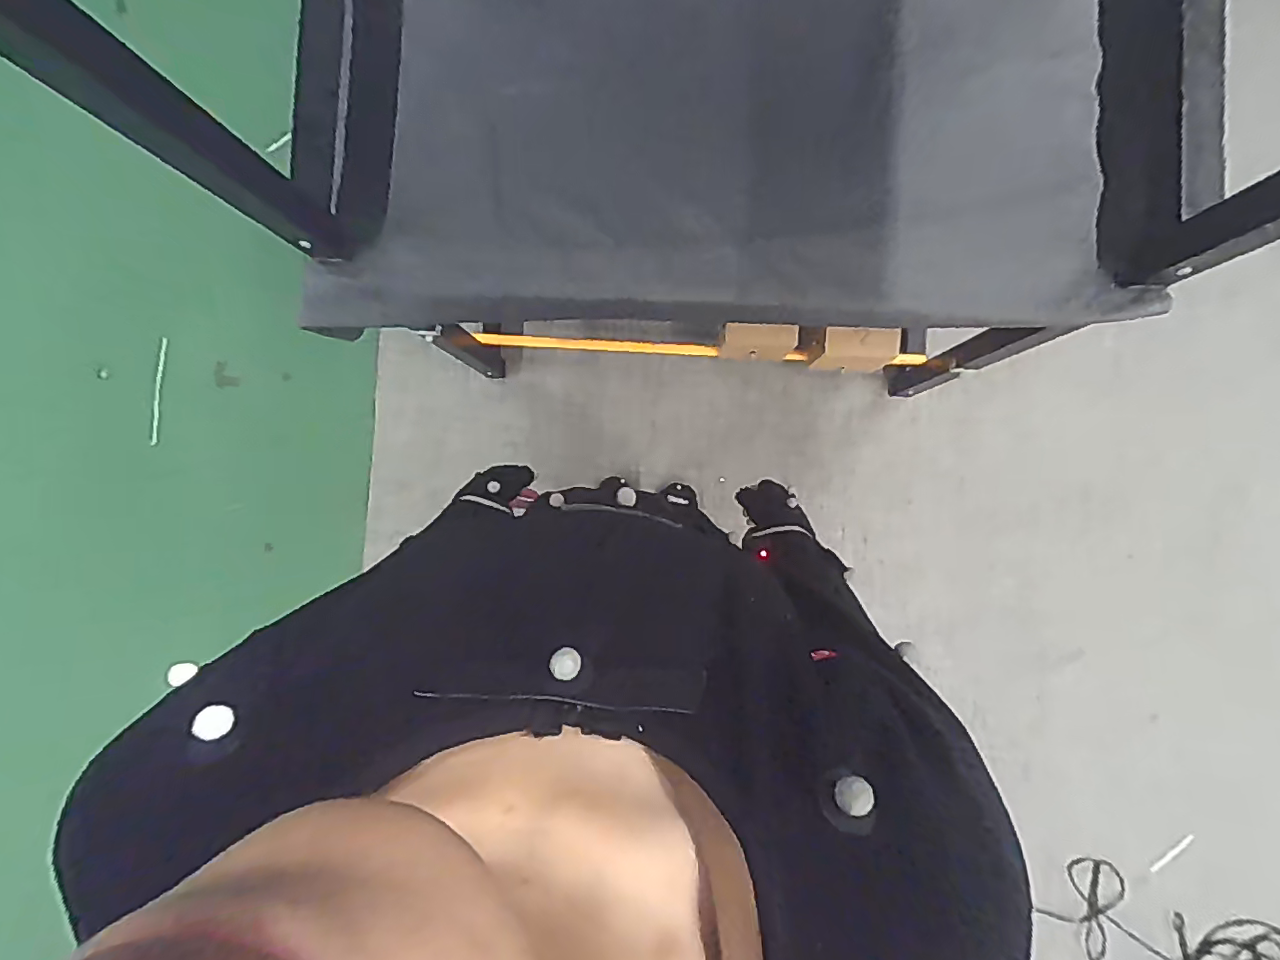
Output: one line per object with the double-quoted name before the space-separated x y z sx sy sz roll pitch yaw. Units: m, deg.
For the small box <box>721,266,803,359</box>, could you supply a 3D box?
"small box" 0.287 -0.394 1.299 0.168 0.176 0.179 3 90 4
